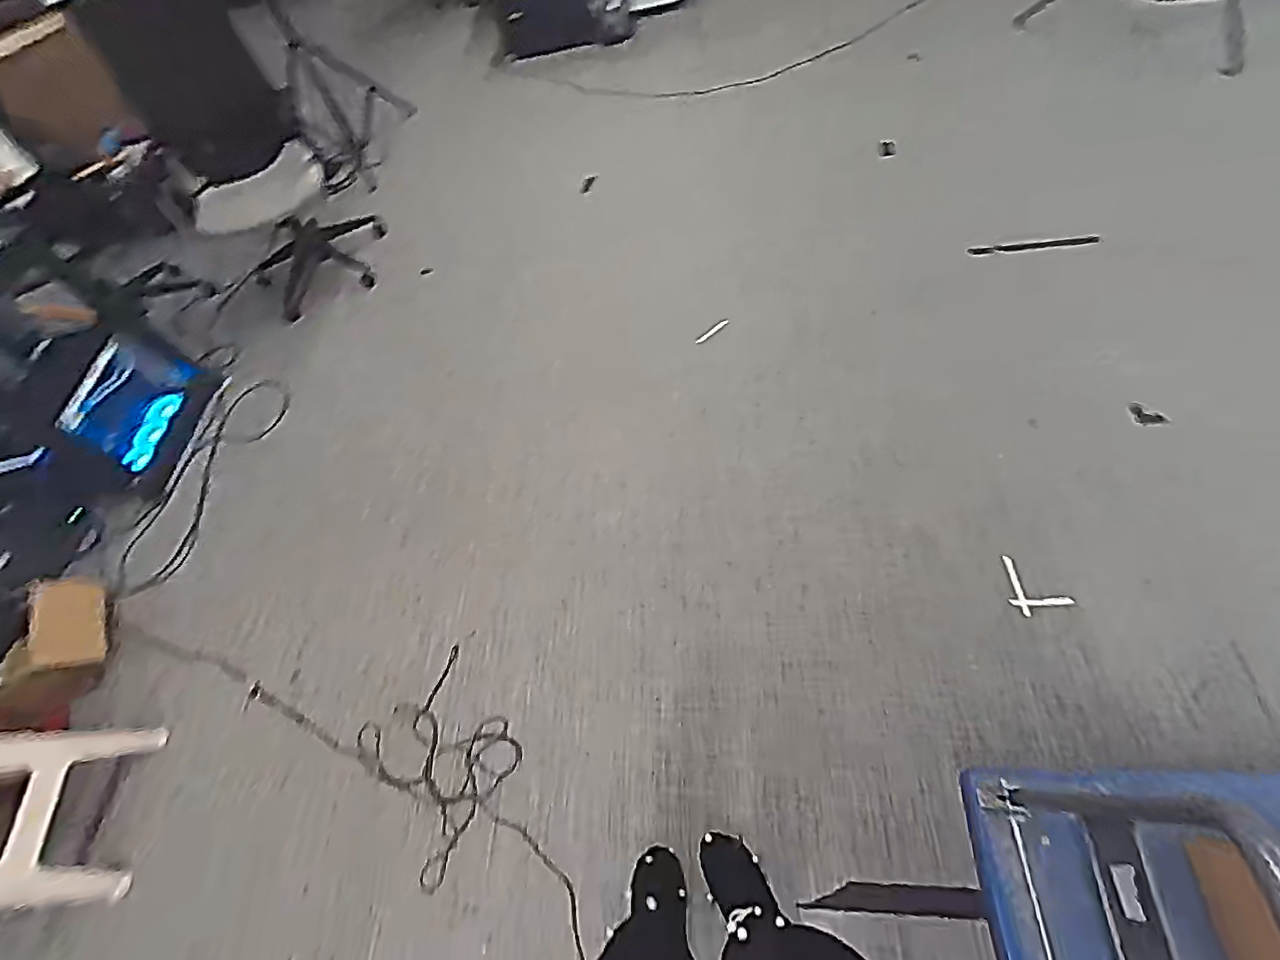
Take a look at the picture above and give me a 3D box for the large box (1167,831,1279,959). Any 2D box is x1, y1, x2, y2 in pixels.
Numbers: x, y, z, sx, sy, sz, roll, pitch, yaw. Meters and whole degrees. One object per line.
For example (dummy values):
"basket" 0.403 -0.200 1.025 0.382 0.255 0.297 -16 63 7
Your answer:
"large box" 1.036 0.703 0.699 0.320 0.320 0.408 -3 58 9
